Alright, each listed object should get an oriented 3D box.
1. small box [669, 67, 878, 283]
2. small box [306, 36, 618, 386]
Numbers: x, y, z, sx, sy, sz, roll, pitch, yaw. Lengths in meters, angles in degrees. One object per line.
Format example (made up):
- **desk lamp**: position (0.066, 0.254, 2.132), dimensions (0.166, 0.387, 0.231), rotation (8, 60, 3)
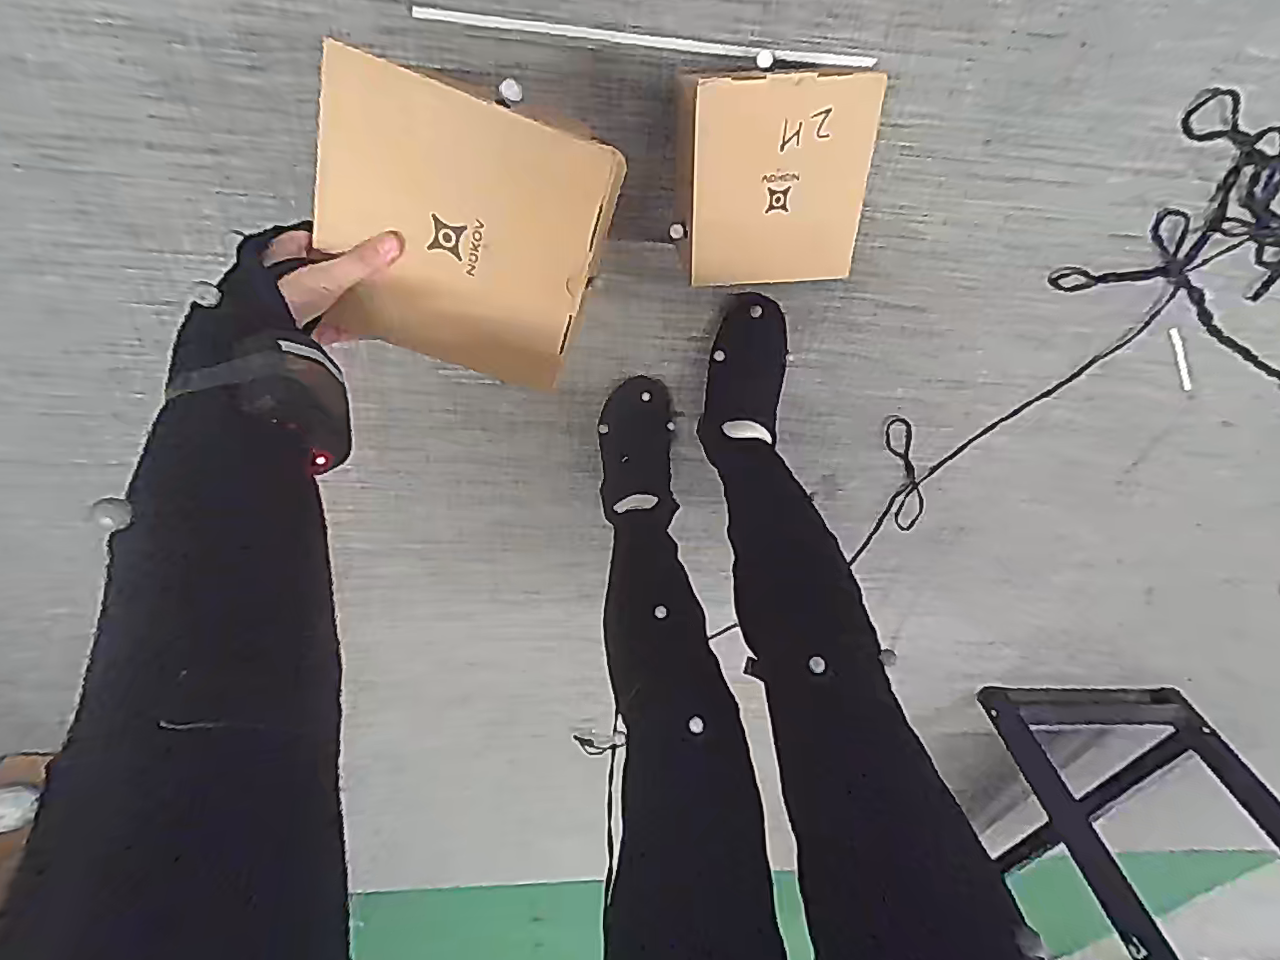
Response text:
- **small box**: position (0.121, -0.325, 0.573), dimensions (0.168, 0.176, 0.179), rotation (-3, 127, -1)
- **small box**: position (-0.124, -0.196, 0.423), dimensions (0.179, 0.176, 0.168), rotation (16, 116, -8)
